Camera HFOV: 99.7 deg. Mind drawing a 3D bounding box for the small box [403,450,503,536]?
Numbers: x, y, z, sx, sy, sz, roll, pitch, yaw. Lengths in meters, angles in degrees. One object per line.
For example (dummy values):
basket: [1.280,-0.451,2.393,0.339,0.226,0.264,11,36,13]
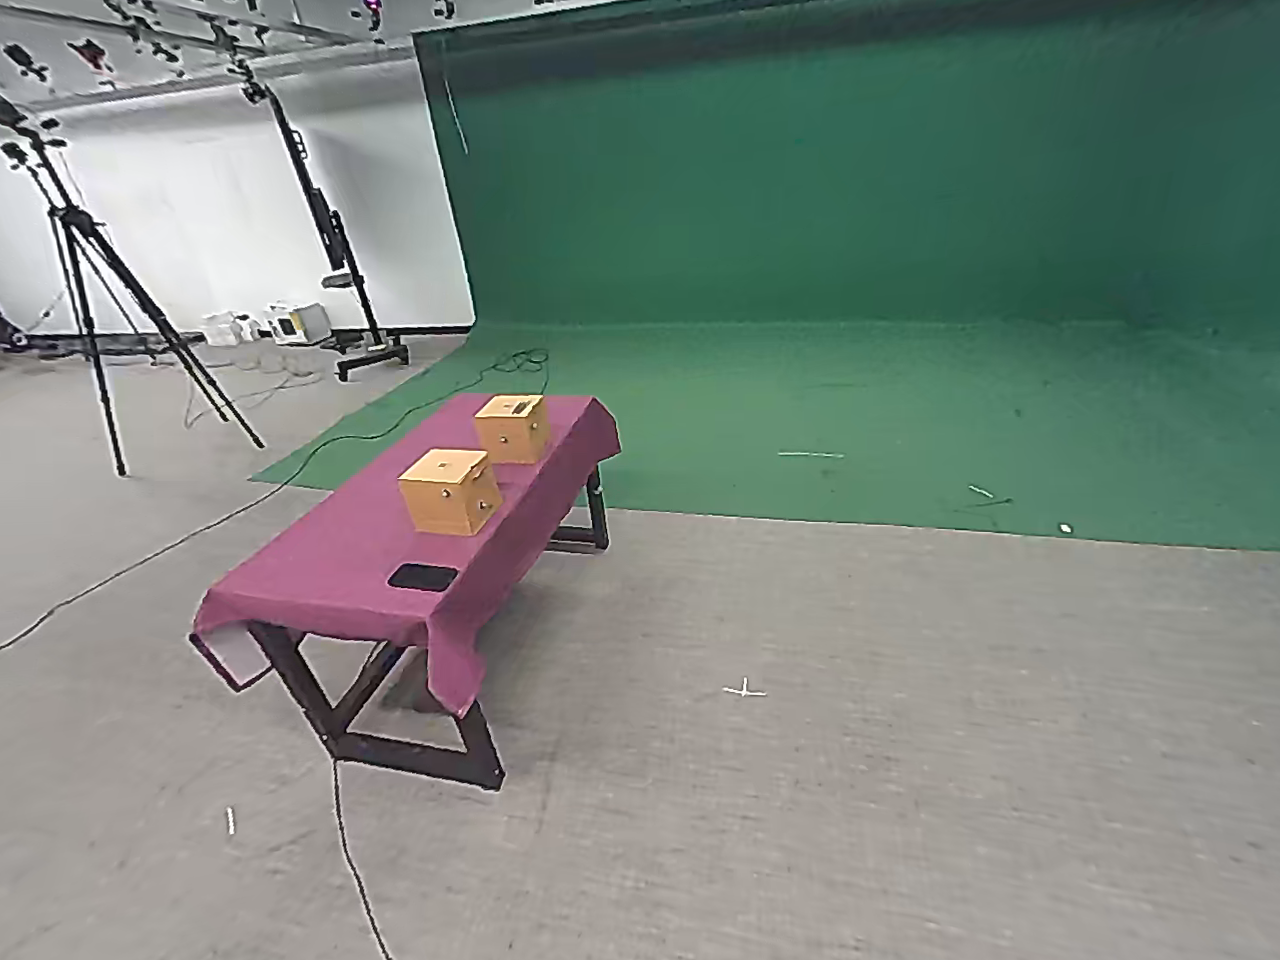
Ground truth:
small box: [-0.495,0.034,1.454,0.179,0.176,0.168,4,32,14]
